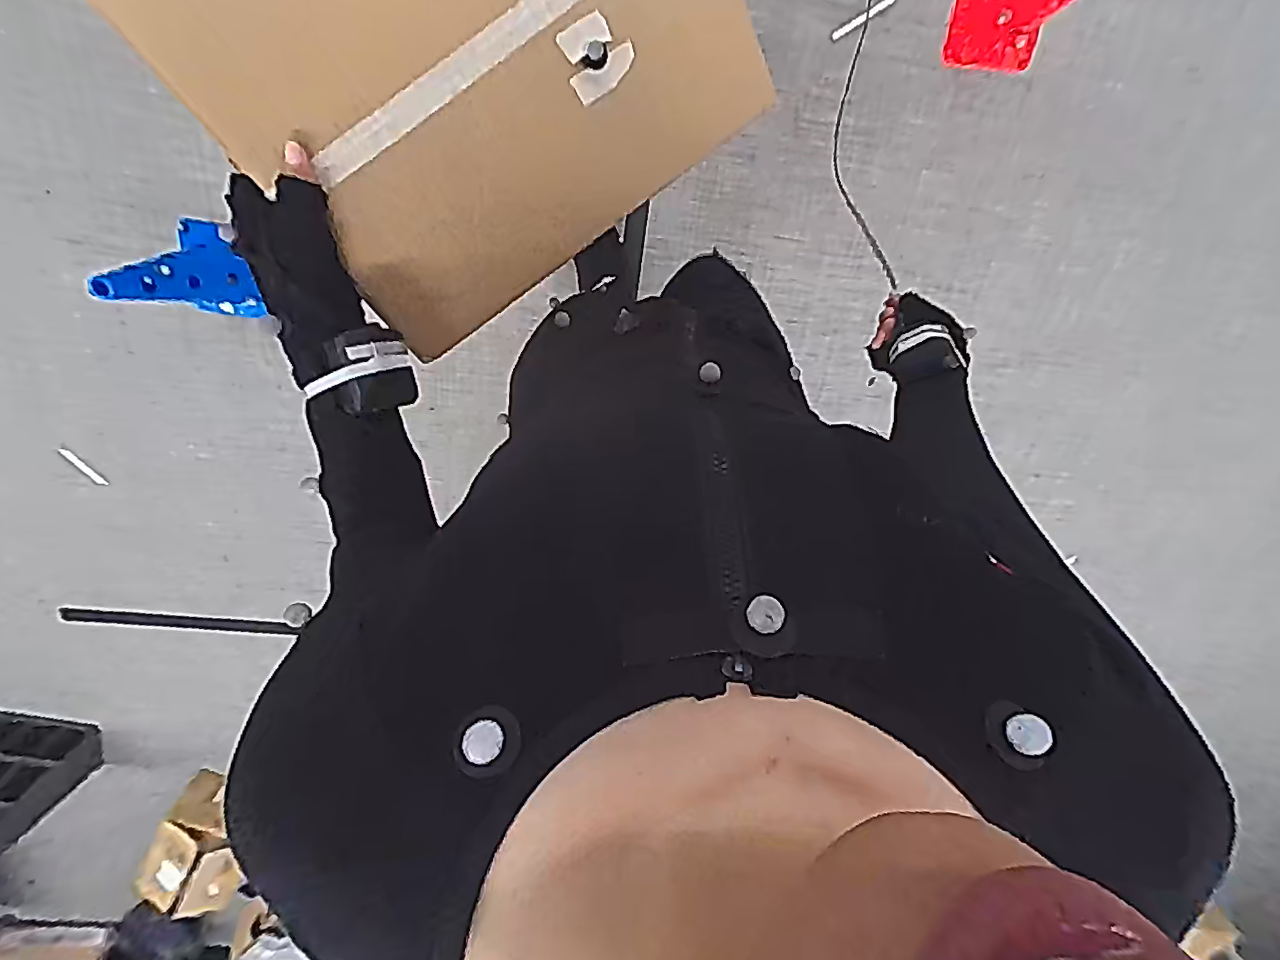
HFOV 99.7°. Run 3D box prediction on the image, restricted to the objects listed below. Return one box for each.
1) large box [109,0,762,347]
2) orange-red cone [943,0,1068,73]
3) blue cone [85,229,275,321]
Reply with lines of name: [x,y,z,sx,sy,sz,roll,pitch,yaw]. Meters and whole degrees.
large box: [-0.168,-0.399,0.542,0.408,0.320,0.320,-38,123,-2]
orange-red cone: [0.752,-0.902,0.964,0.198,0.360,0.199,2,114,-5]
blue cone: [-0.960,-0.409,1.126,0.192,0.380,0.193,9,115,-6]
